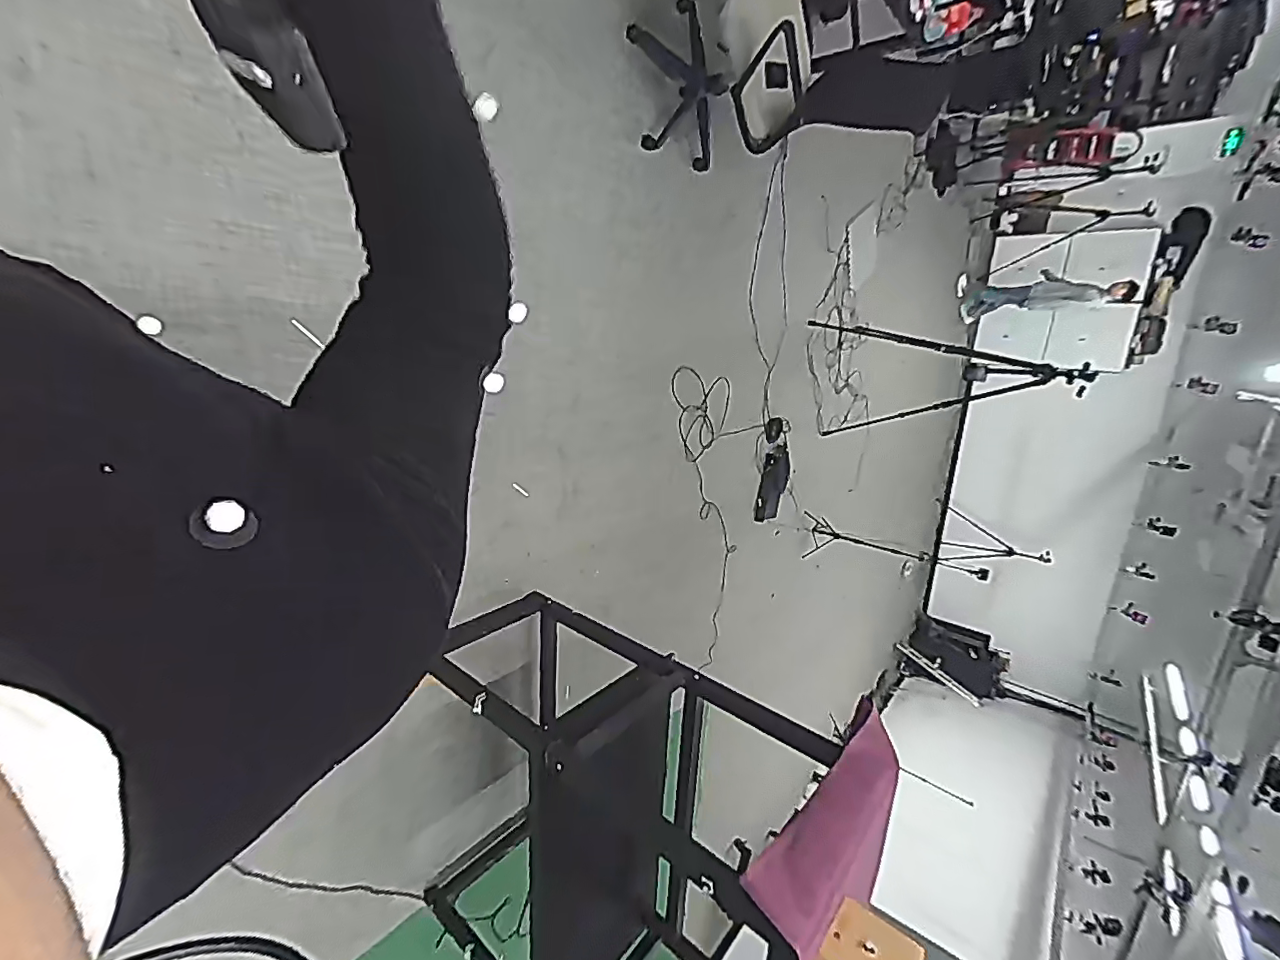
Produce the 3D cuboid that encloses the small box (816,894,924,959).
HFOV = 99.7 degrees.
[{"bbox_3d":[0.464,1.012,1.118,0.168,0.176,0.179,-11,111,-49],"label":"small box"}]
